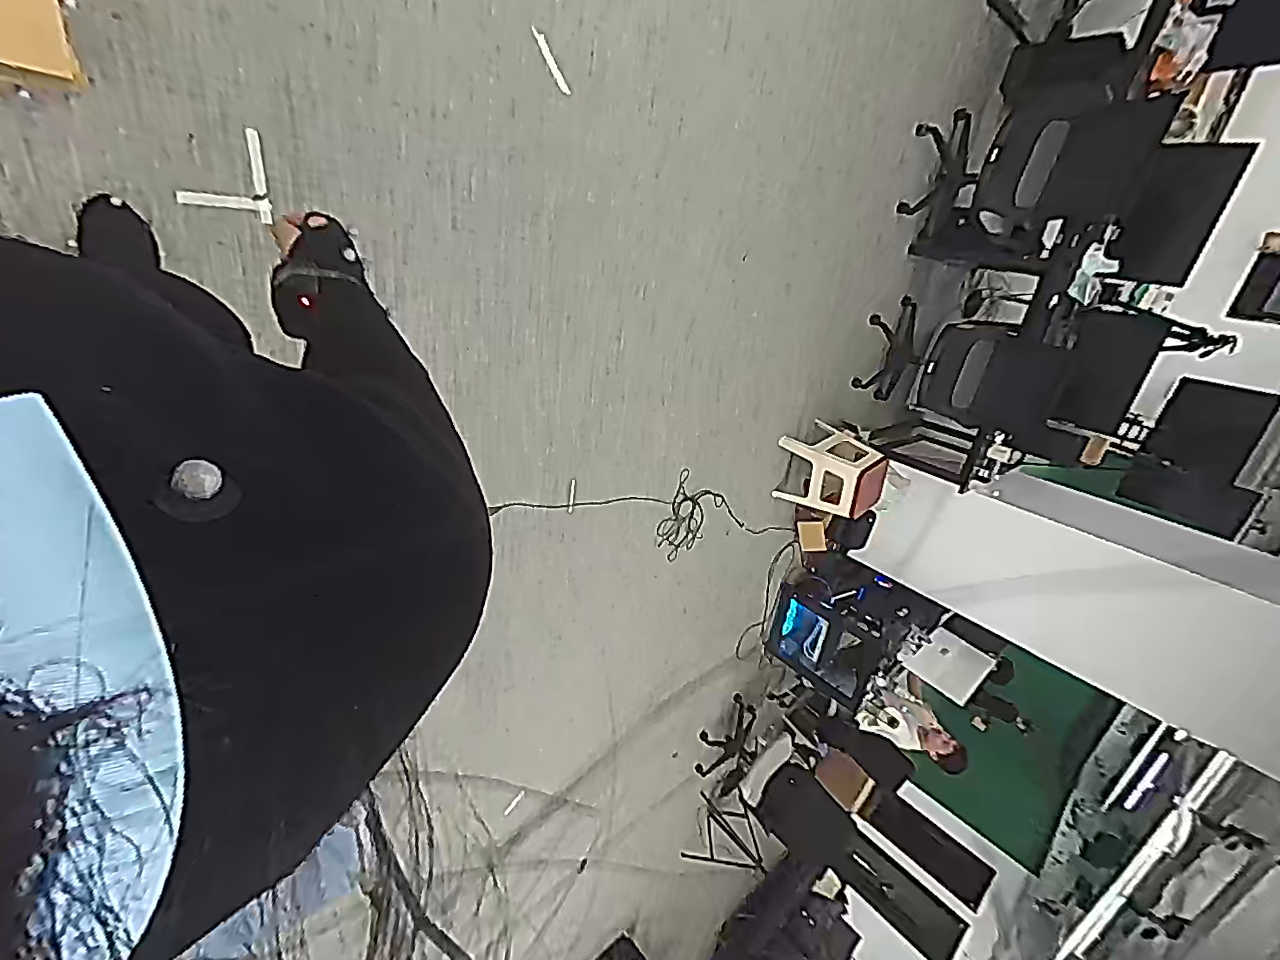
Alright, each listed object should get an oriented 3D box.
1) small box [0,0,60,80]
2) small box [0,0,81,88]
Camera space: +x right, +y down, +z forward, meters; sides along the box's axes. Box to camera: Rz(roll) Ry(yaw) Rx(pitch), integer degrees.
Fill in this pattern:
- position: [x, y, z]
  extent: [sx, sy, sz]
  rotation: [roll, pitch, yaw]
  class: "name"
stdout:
- position: [-0.861, -0.631, 0.672]
  extent: [0.168, 0.176, 0.179]
  rotation: [-12, 121, -42]
  class: "small box"
- position: [-0.965, -0.688, 0.783]
  extent: [0.168, 0.176, 0.179]
  rotation: [-25, 129, -34]
  class: "small box"
